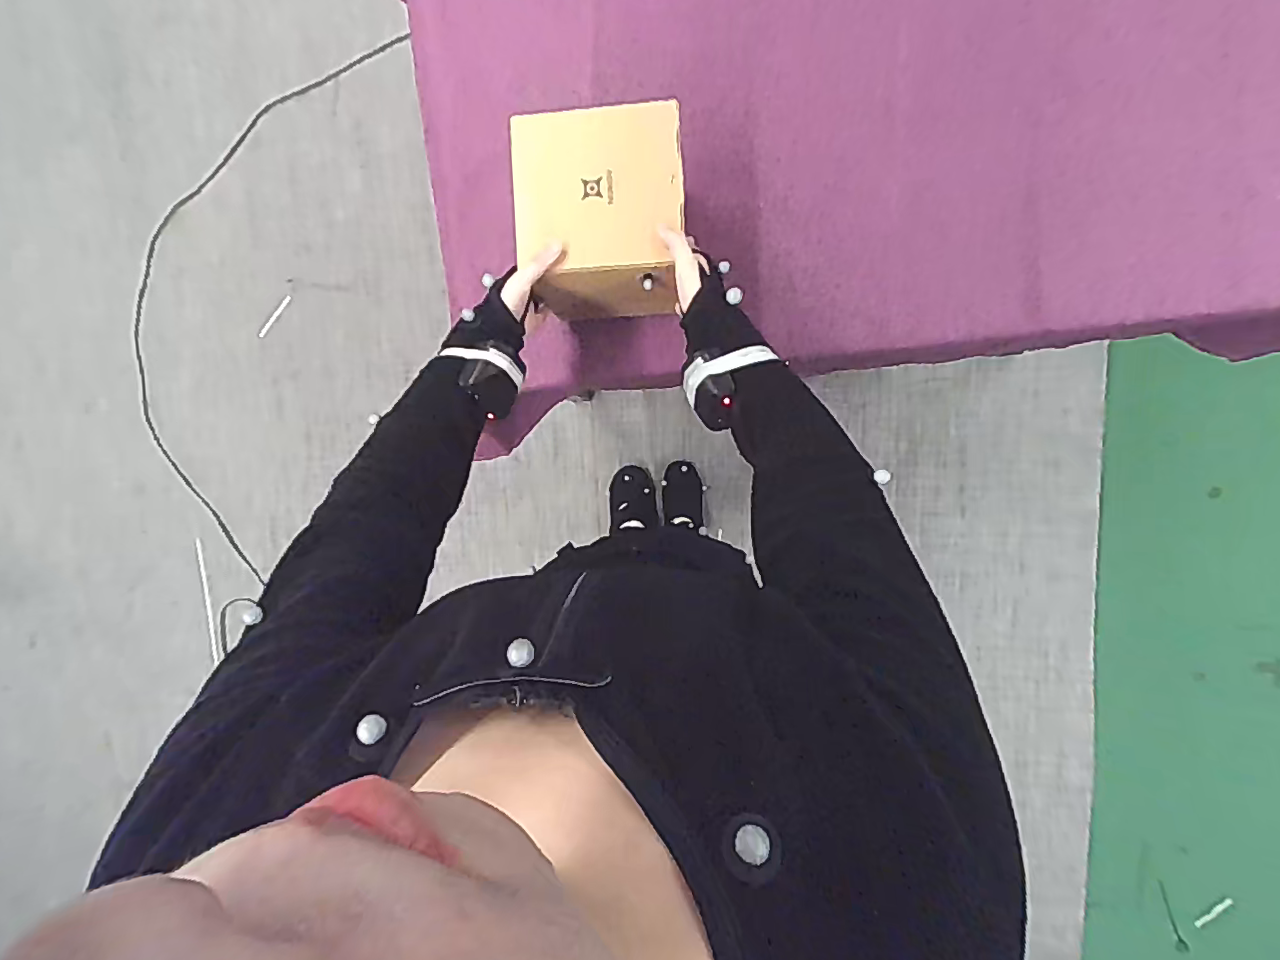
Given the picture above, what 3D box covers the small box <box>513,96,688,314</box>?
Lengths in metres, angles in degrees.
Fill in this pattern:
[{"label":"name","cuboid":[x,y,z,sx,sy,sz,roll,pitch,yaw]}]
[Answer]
[{"label":"small box","cuboid":[-0.035,-0.302,0.631,0.179,0.176,0.168,-2,90,5]}]
